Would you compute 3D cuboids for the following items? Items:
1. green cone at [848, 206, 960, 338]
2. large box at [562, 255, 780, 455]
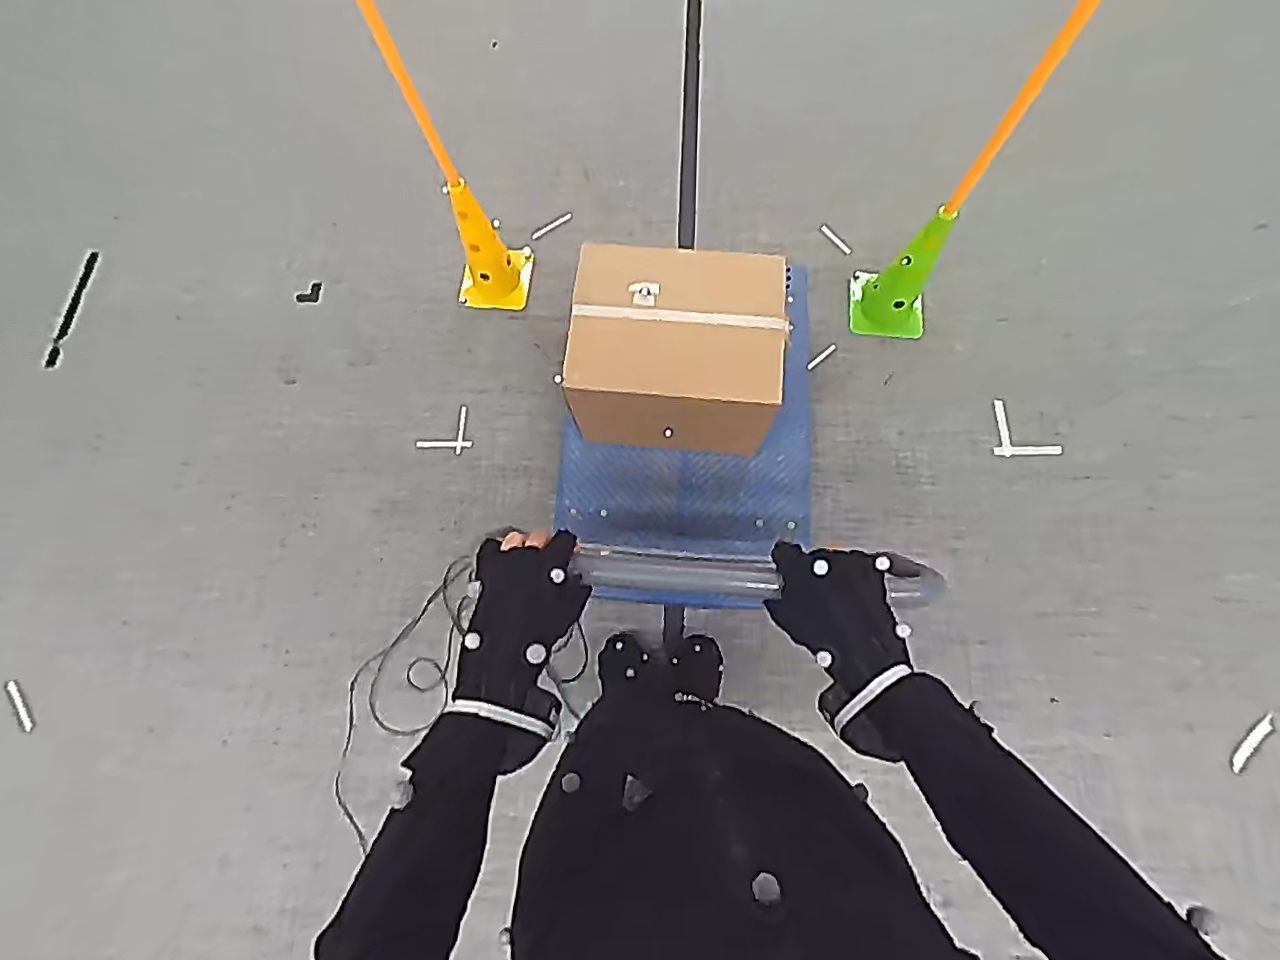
[{"bbox_3d":[0.695,-0.546,1.382,0.202,0.368,0.200,6,74,2],"label":"green cone"},{"bbox_3d":[0.073,-0.252,1.172,0.408,0.320,0.320,5,75,4],"label":"large box"}]
